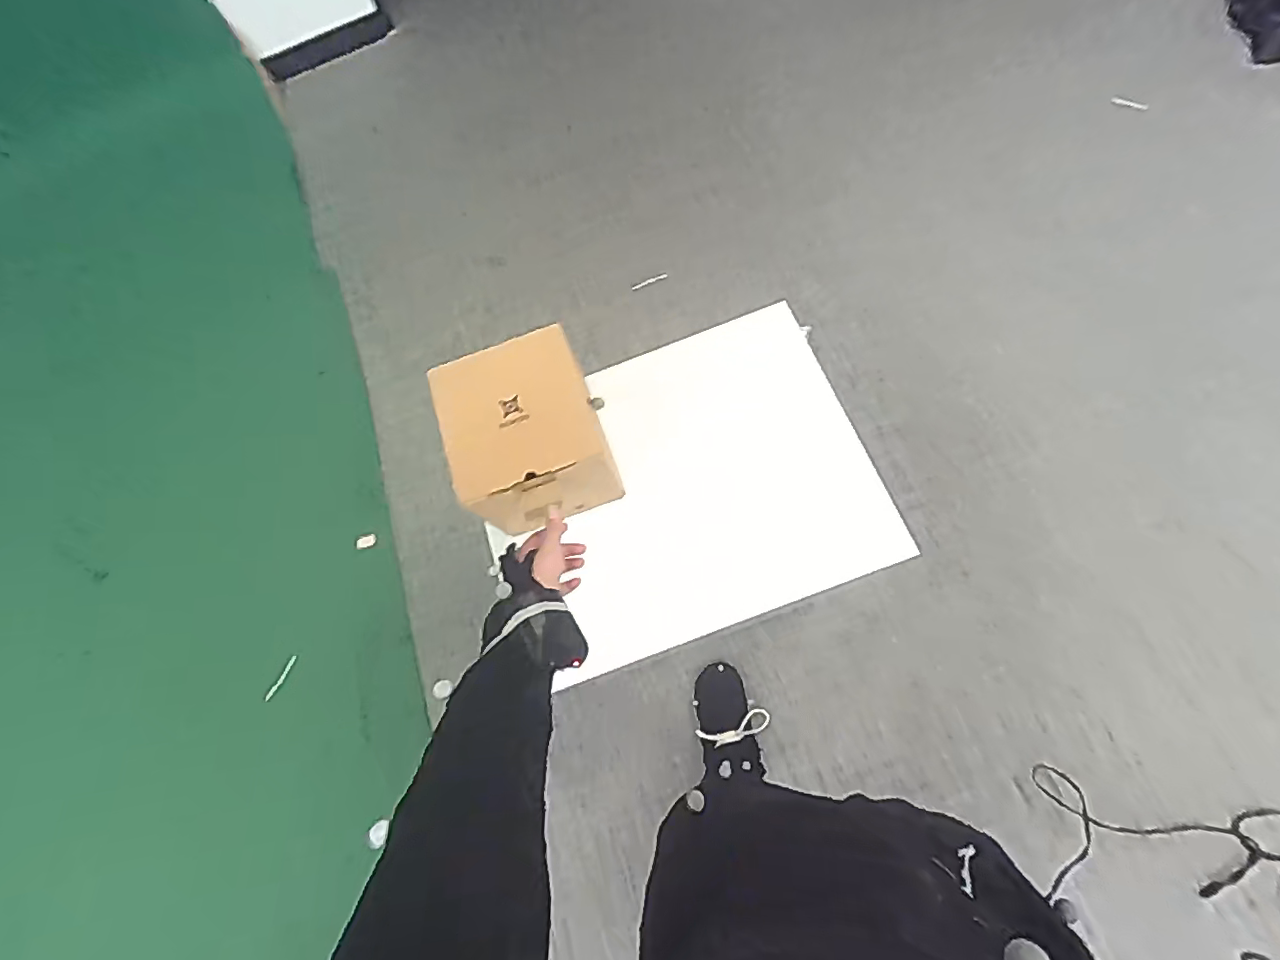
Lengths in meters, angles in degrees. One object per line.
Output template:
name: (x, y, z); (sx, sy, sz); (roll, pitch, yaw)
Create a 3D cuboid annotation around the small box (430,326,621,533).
small box: (-0.132, -0.052, 0.673); (0.168, 0.176, 0.179); (-20, 72, 0)
